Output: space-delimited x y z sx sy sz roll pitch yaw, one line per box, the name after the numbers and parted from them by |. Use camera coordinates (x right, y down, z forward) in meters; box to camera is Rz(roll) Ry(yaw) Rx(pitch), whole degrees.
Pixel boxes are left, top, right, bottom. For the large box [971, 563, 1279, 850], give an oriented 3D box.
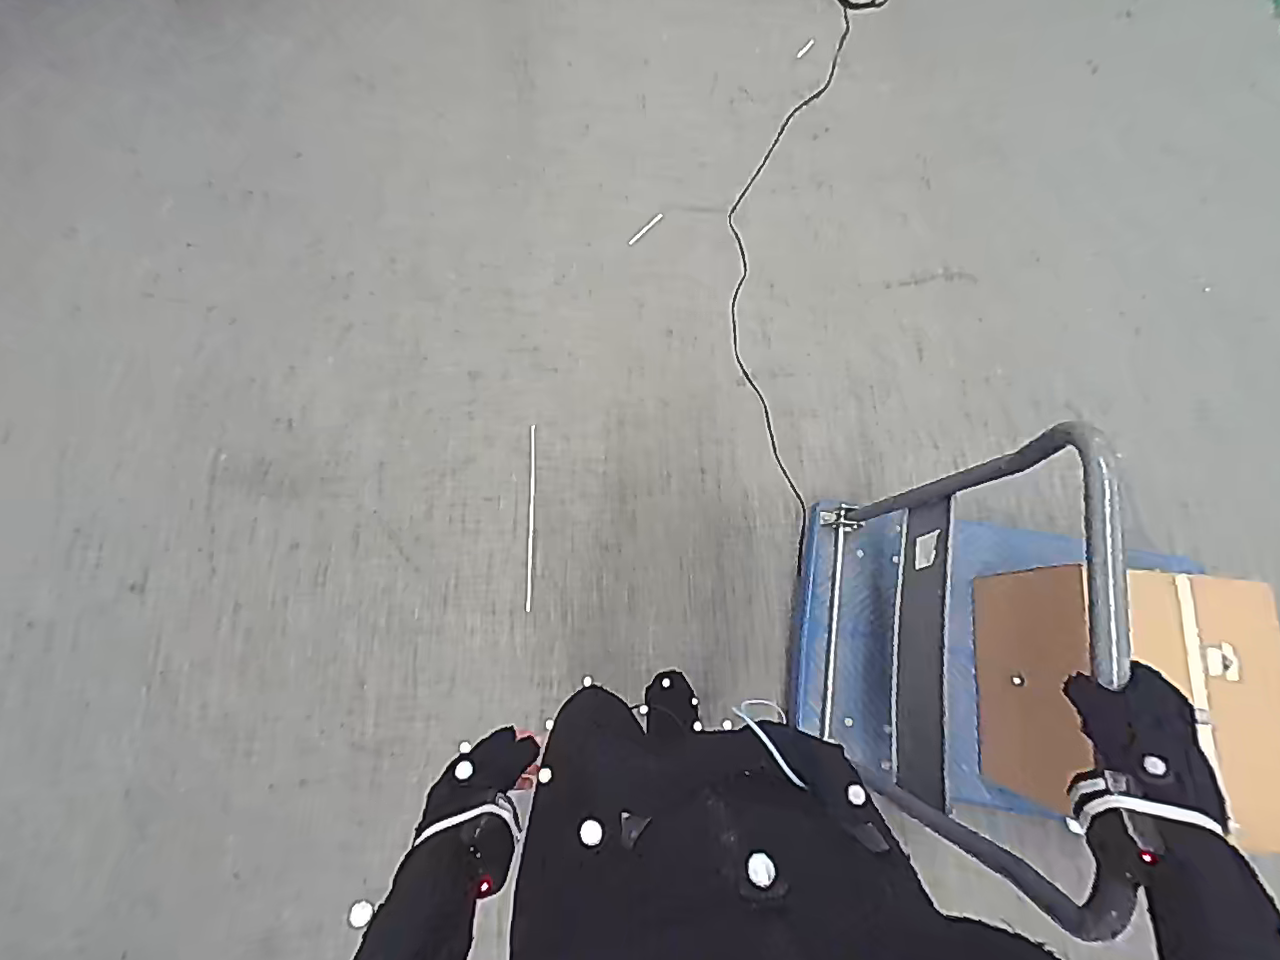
0.856 0.385 0.988 0.320 0.320 0.408 6 74 0 | large box
